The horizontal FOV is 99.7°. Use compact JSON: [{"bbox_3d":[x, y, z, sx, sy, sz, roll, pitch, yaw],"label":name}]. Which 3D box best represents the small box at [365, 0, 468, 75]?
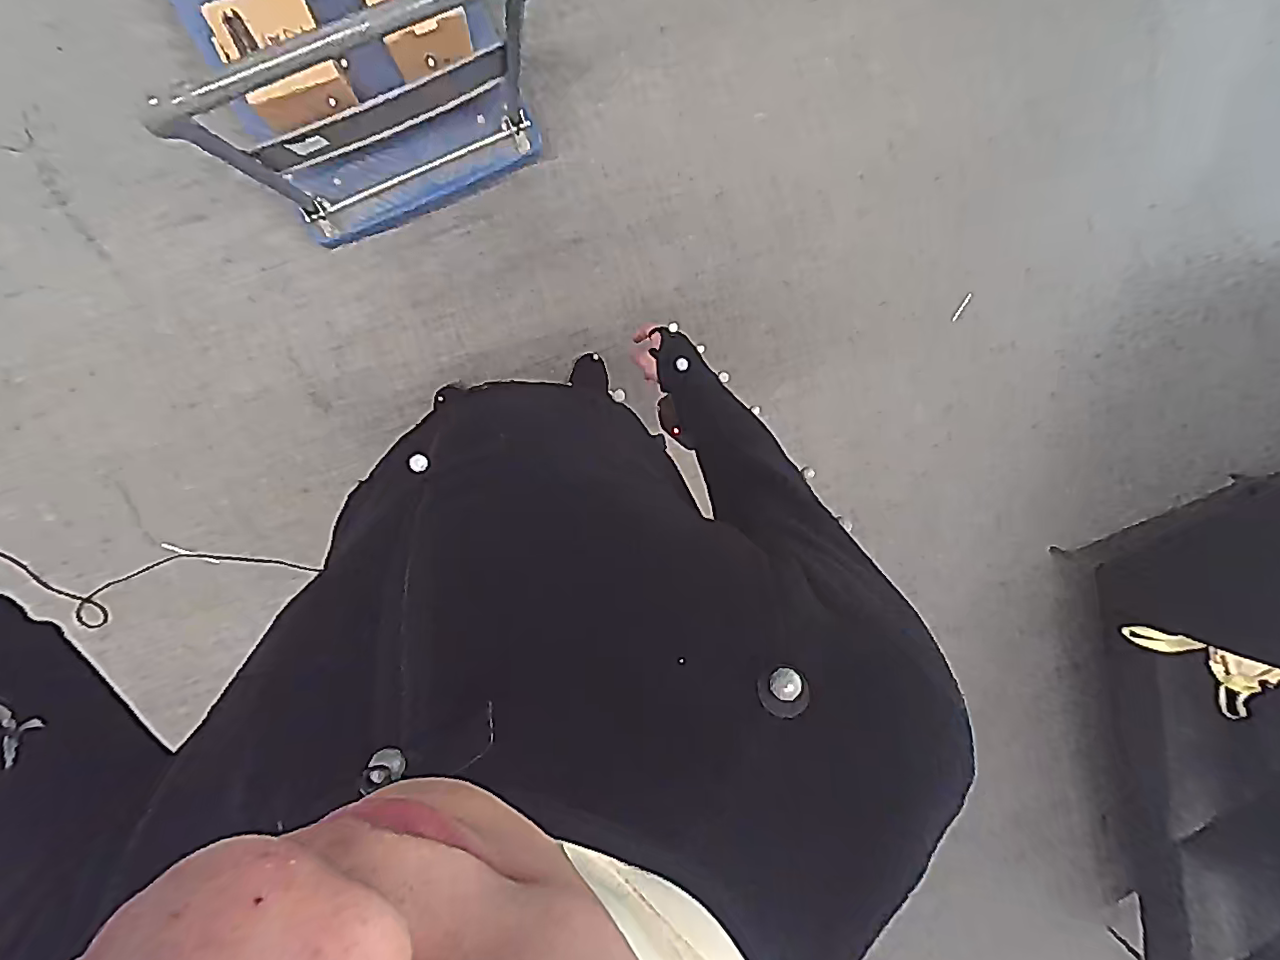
[{"bbox_3d":[-0.461,-0.966,1.079,0.168,0.176,0.179,-25,108,-5],"label":"small box"}]
